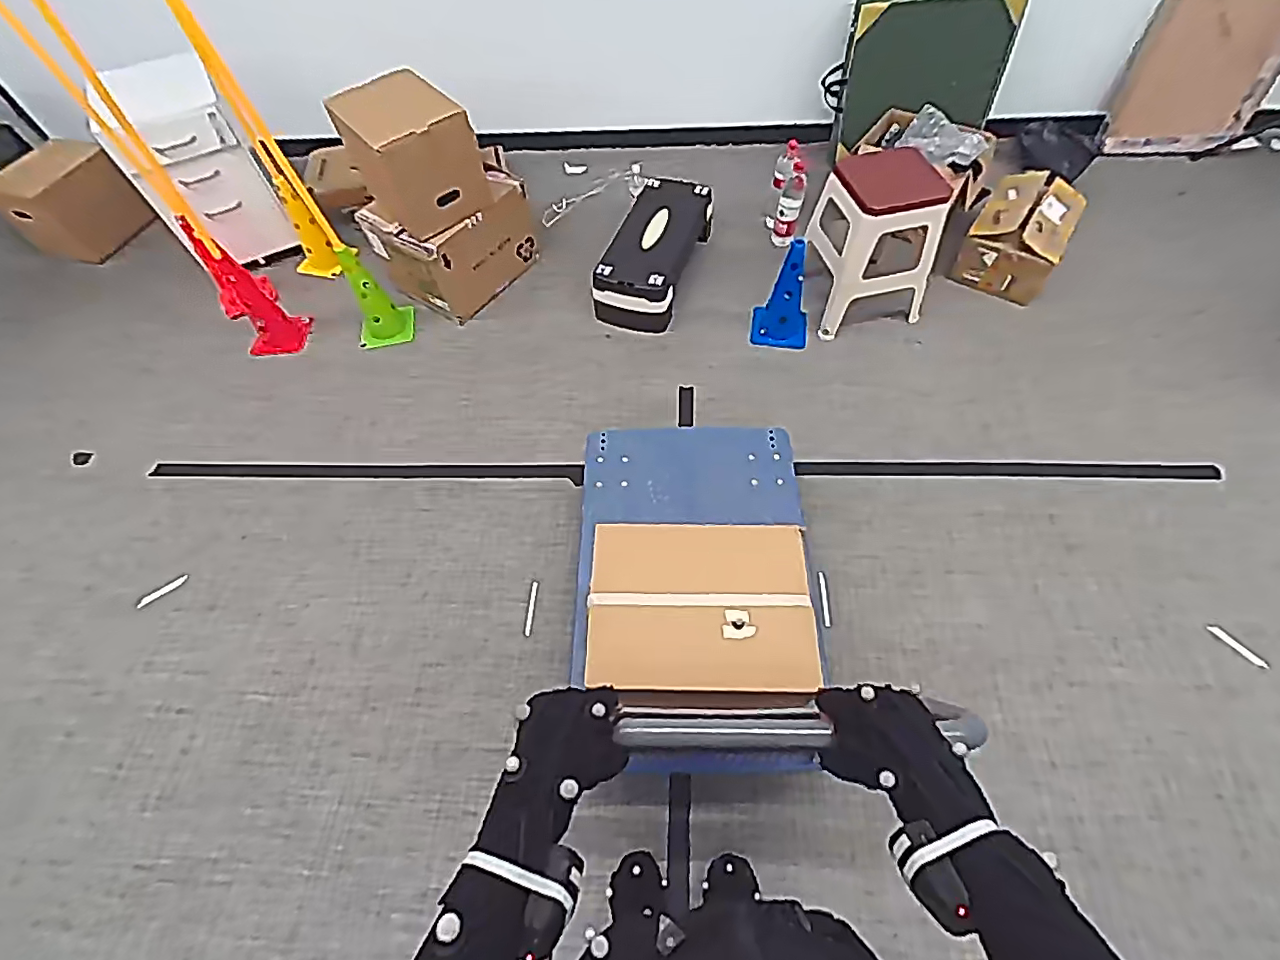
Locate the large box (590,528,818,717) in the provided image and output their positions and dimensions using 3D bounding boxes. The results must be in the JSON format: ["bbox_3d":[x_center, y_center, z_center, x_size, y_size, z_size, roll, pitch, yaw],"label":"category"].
[{"bbox_3d":[0.110,0.306,1.133,0.408,0.320,0.320,0,59,1],"label":"large box"}]
